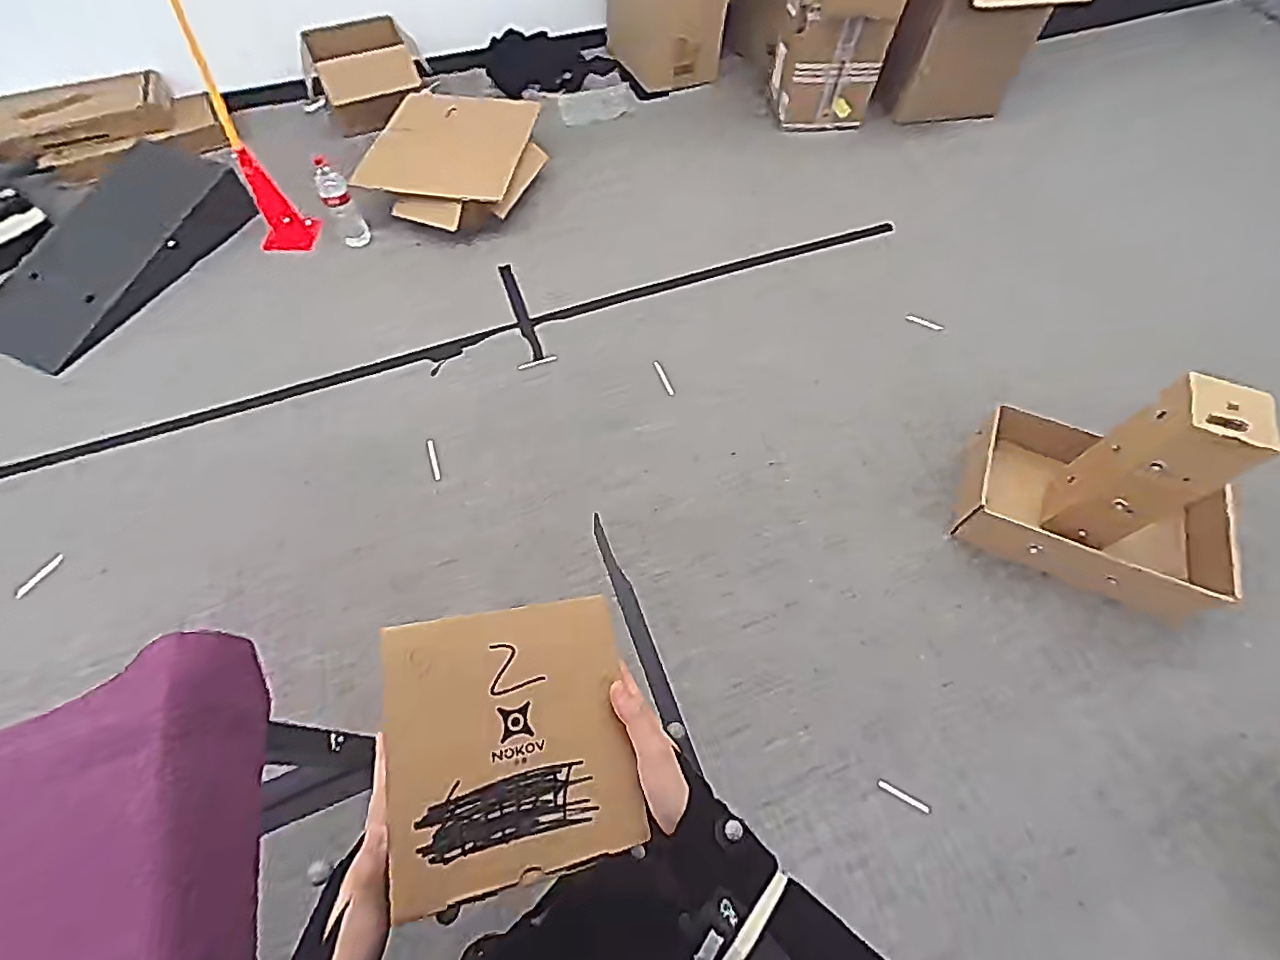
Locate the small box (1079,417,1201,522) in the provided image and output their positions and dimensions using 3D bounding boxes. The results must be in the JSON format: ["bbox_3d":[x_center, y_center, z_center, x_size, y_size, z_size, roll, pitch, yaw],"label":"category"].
[{"bbox_3d":[1.261,-0.025,1.374,0.168,0.176,0.179,23,63,13],"label":"small box"}]

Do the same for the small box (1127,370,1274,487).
[{"bbox_3d":[1.263,-0.113,1.234,0.168,0.176,0.179,22,61,12],"label":"small box"}]

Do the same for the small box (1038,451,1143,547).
[{"bbox_3d":[1.258,0.057,1.513,0.168,0.176,0.179,24,63,13],"label":"small box"}]
